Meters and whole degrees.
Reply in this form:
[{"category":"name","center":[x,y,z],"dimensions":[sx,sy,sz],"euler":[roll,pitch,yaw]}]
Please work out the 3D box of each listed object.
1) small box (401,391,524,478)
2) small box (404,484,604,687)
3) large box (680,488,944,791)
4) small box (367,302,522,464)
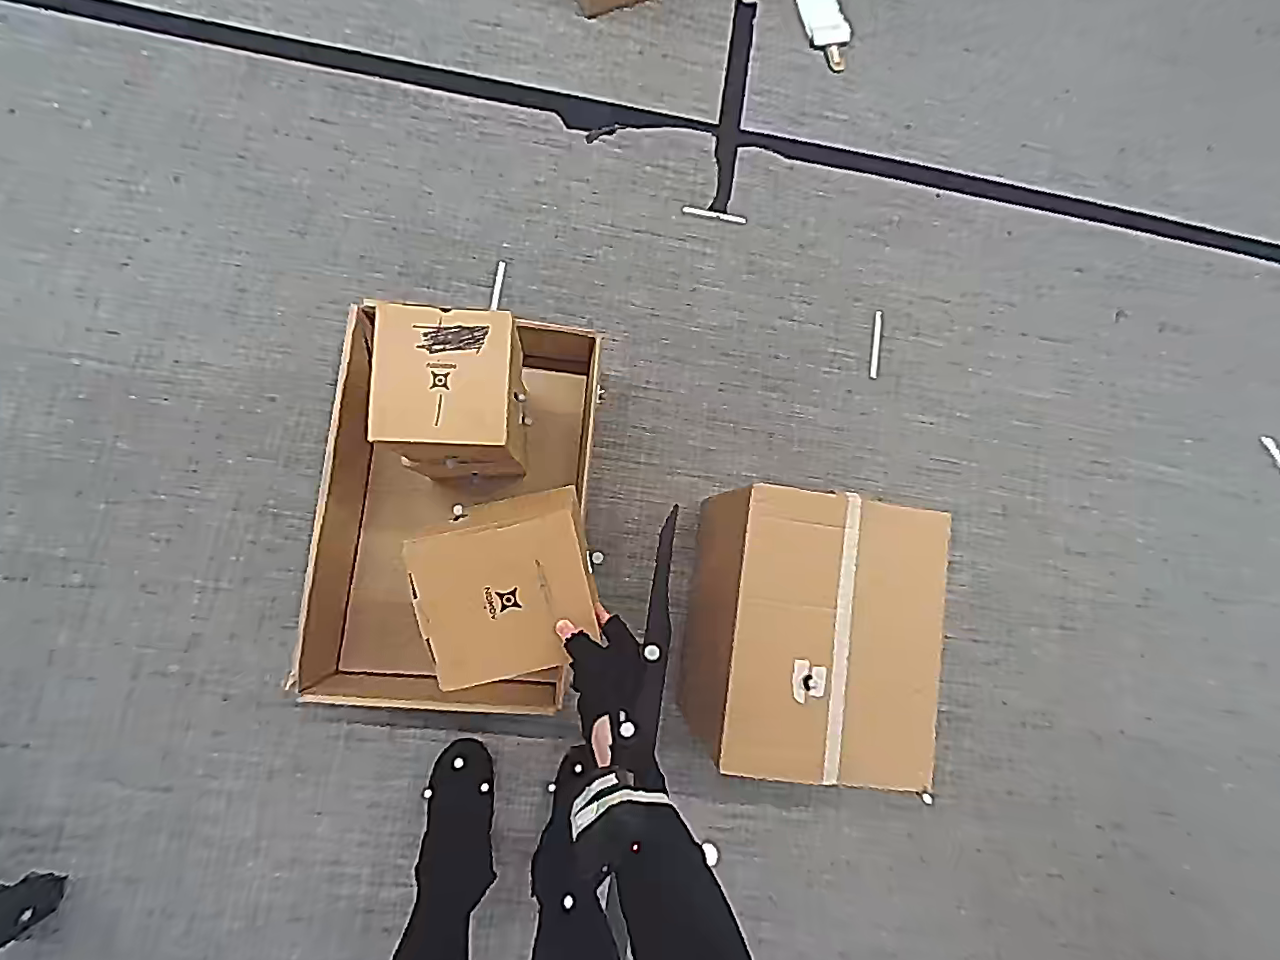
[{"category":"small box","center":[-0.286,-0.094,0.905],"dimensions":[0.179,0.176,0.168],"euler":[-2,84,-8]},{"category":"small box","center":[-0.142,0.108,0.627],"dimensions":[0.179,0.176,0.168],"euler":[-12,99,-4]},{"category":"large box","center":[0.264,0.238,0.915],"dimensions":[0.320,0.320,0.408],"euler":[8,83,-5]},{"category":"small box","center":[-0.255,-0.123,0.745],"dimensions":[0.168,0.176,0.179],"euler":[2,85,-7]}]
